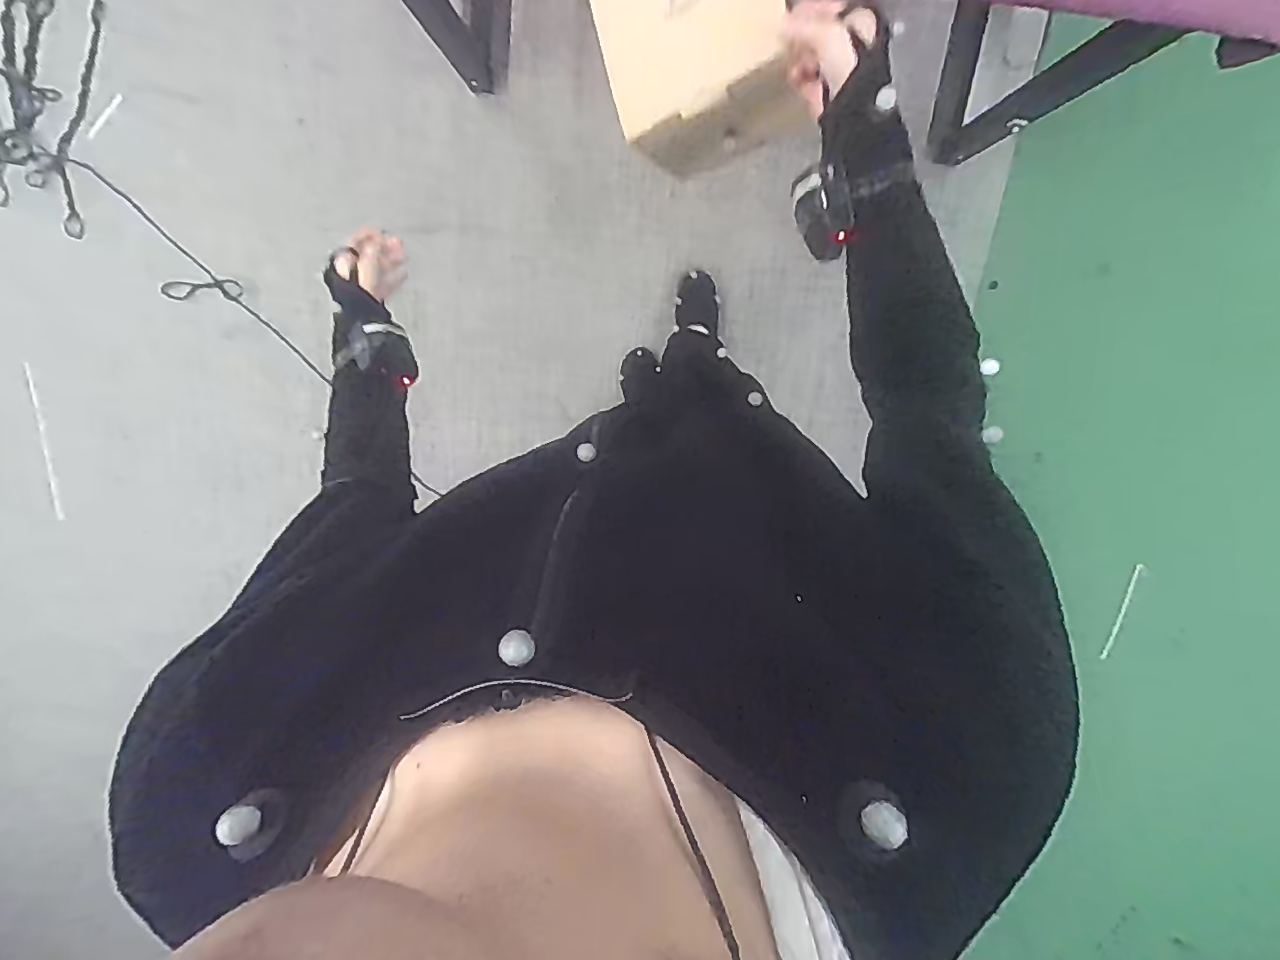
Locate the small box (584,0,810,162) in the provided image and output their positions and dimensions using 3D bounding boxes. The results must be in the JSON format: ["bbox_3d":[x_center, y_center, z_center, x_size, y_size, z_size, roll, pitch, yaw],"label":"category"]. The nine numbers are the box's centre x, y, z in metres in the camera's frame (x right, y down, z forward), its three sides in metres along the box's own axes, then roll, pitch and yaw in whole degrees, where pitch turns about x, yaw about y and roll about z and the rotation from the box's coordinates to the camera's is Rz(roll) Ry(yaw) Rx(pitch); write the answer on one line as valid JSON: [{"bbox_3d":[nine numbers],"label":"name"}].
[{"bbox_3d":[0.061,-0.438,0.526,0.168,0.176,0.179,-10,100,26],"label":"small box"}]
